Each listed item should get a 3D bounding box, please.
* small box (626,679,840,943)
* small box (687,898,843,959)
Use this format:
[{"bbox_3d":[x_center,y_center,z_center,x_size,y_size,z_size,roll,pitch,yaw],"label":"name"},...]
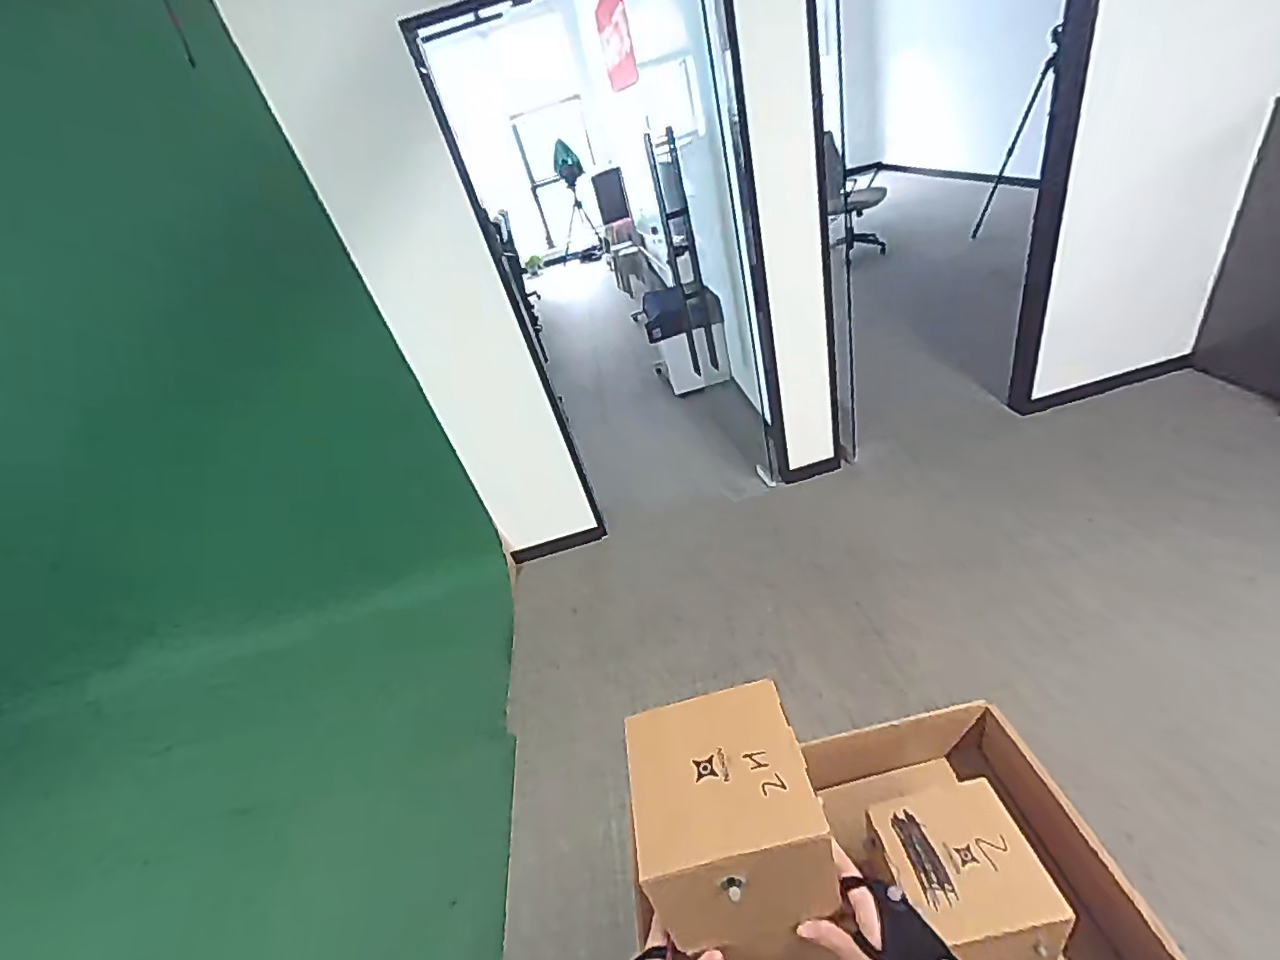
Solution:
[{"bbox_3d":[0.095,0.351,0.576,0.179,0.176,0.168,-16,31,3],"label":"small box"},{"bbox_3d":[0.135,0.483,0.665,0.168,0.176,0.179,-15,31,2],"label":"small box"}]
